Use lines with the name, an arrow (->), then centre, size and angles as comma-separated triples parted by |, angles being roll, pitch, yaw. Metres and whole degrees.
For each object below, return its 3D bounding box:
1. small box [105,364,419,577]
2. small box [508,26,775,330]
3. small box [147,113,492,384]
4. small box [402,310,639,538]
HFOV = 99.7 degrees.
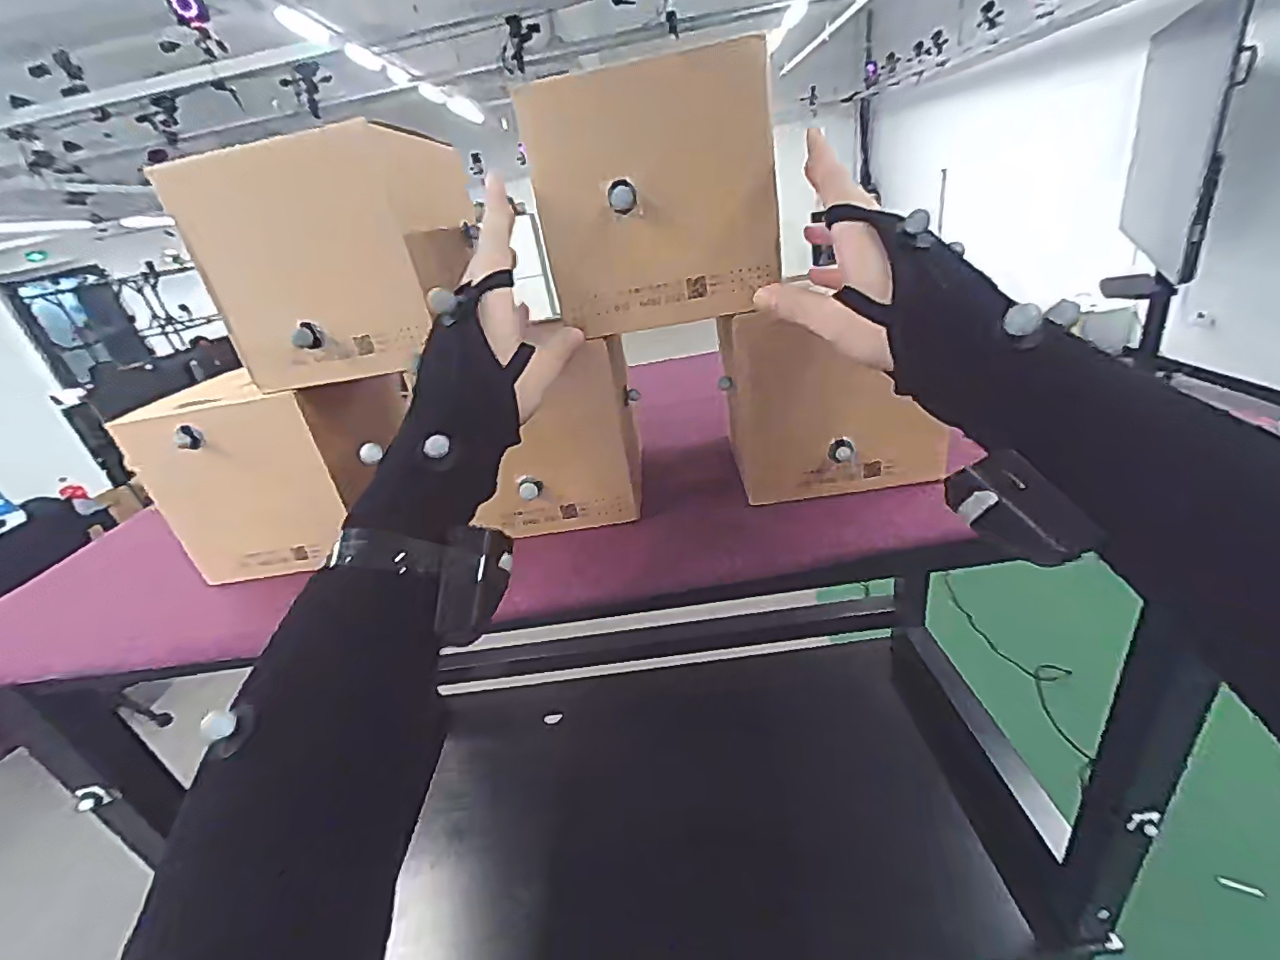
small box -> -0.347, -0.025, 0.544 | 0.168, 0.176, 0.179 | -9, 25, 4
small box -> 0.011, -0.227, 0.446 | 0.168, 0.176, 0.179 | -8, 25, 5
small box -> -0.244, -0.192, 0.470 | 0.168, 0.176, 0.179 | -8, 26, 6
small box -> -0.096, -0.064, 0.529 | 0.168, 0.176, 0.179 | -9, 26, 5
